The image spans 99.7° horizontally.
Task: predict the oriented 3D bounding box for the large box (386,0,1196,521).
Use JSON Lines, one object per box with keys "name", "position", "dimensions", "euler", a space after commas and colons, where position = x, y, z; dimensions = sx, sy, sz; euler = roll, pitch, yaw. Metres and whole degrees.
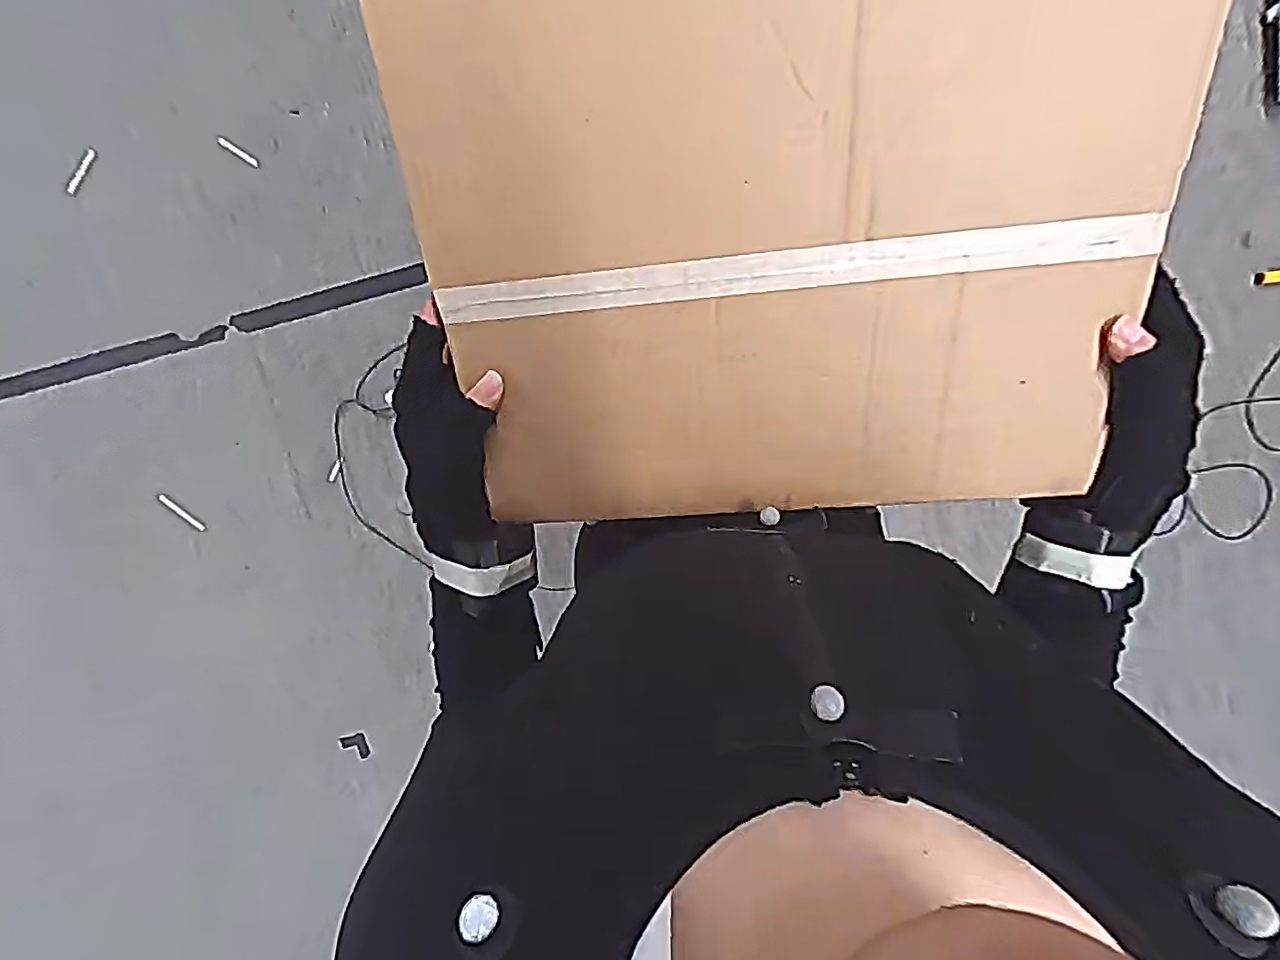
{"name": "large box", "position": [0.086, -0.183, 0.456], "dimensions": [0.408, 0.320, 0.320], "euler": [-3, 116, 6]}
